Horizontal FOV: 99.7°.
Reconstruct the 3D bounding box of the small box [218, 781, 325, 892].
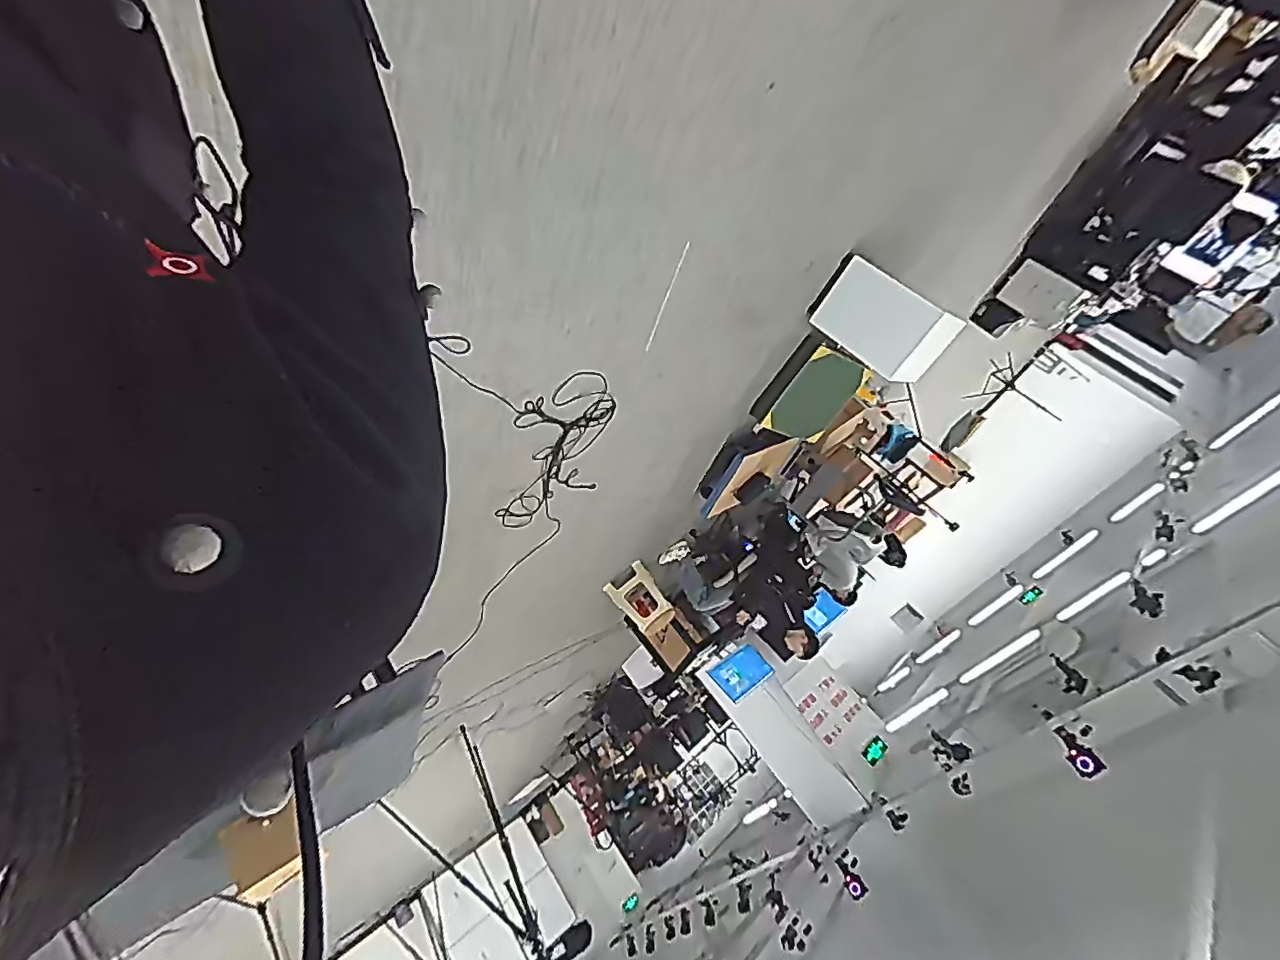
[{"bbox_3d":[-0.939,0.909,1.385,0.168,0.176,0.179,-25,151,-32],"label":"small box"}]
